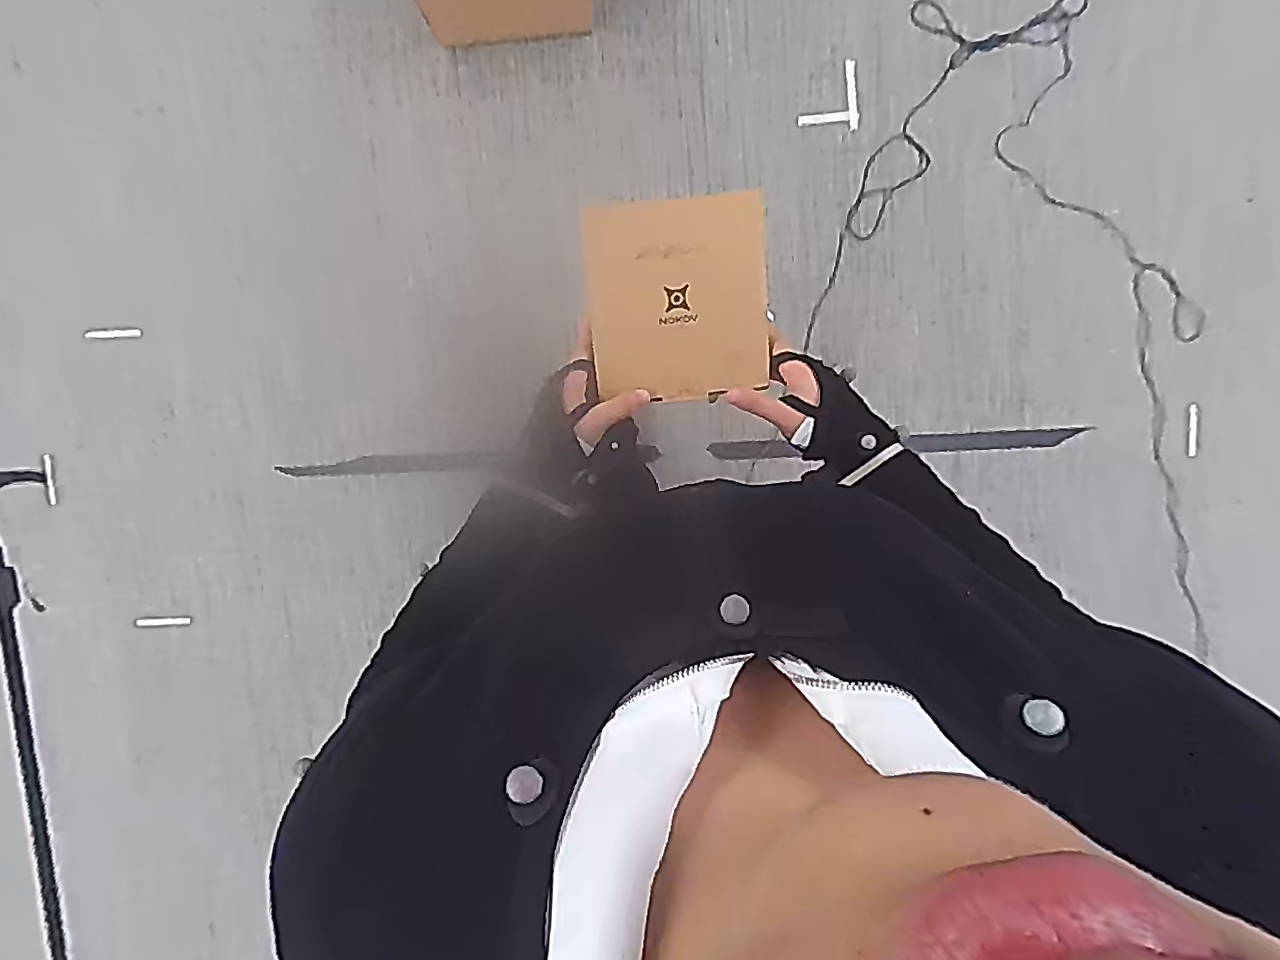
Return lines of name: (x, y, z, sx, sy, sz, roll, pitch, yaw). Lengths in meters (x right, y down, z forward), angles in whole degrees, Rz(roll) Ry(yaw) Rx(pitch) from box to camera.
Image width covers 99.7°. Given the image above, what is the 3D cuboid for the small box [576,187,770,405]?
small box: (0.032, -0.181, 0.566, 0.168, 0.176, 0.179, -7, 103, 0)
